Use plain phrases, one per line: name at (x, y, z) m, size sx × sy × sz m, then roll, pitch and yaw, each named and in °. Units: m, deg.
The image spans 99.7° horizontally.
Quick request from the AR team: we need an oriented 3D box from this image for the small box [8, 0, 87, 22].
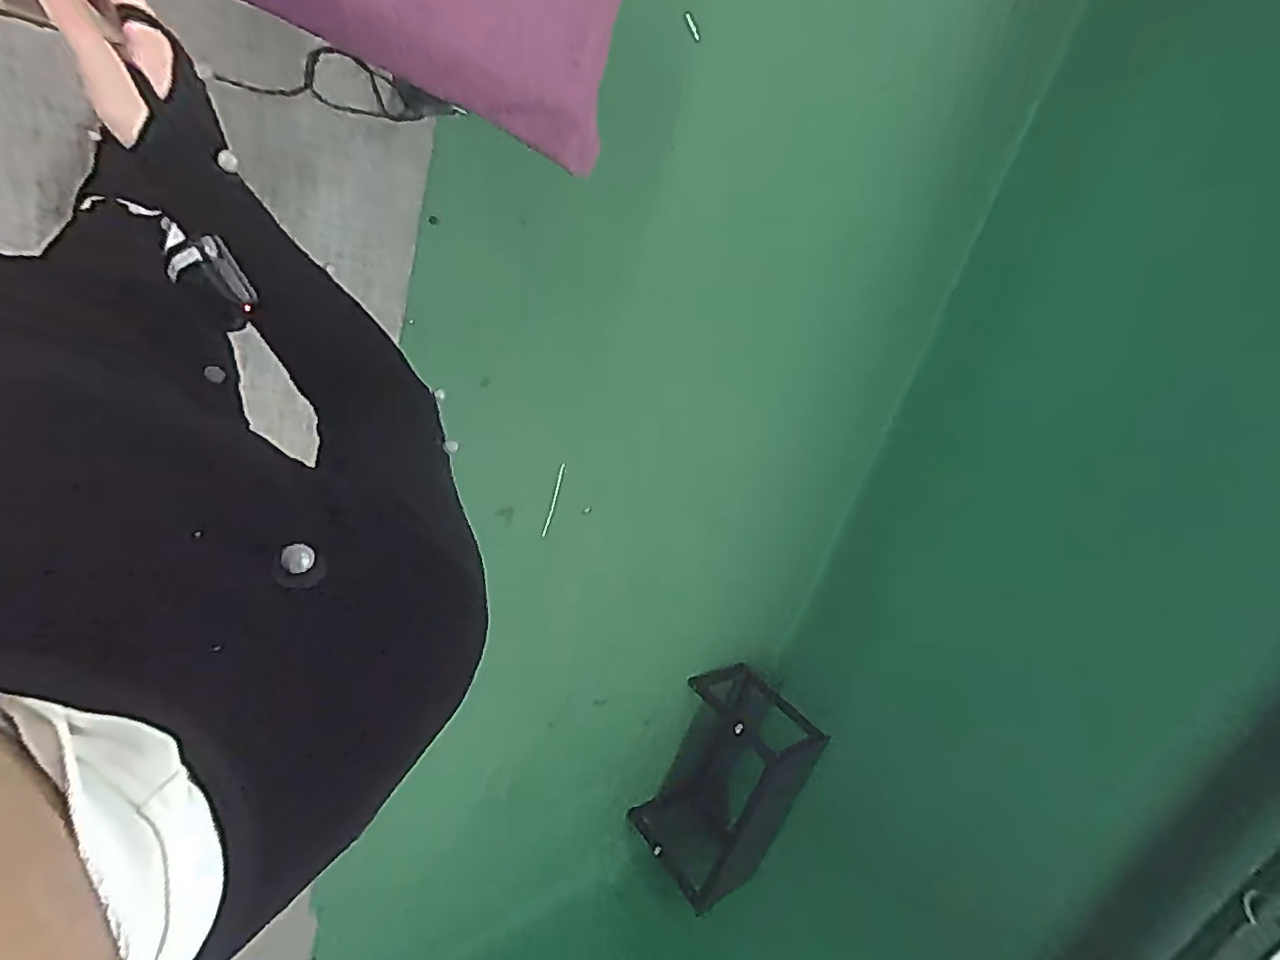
small box at (-0.484, -0.448, 0.349) m, size 0.168 × 0.176 × 0.179 m, roll 1°, pitch 116°, yaw -41°
